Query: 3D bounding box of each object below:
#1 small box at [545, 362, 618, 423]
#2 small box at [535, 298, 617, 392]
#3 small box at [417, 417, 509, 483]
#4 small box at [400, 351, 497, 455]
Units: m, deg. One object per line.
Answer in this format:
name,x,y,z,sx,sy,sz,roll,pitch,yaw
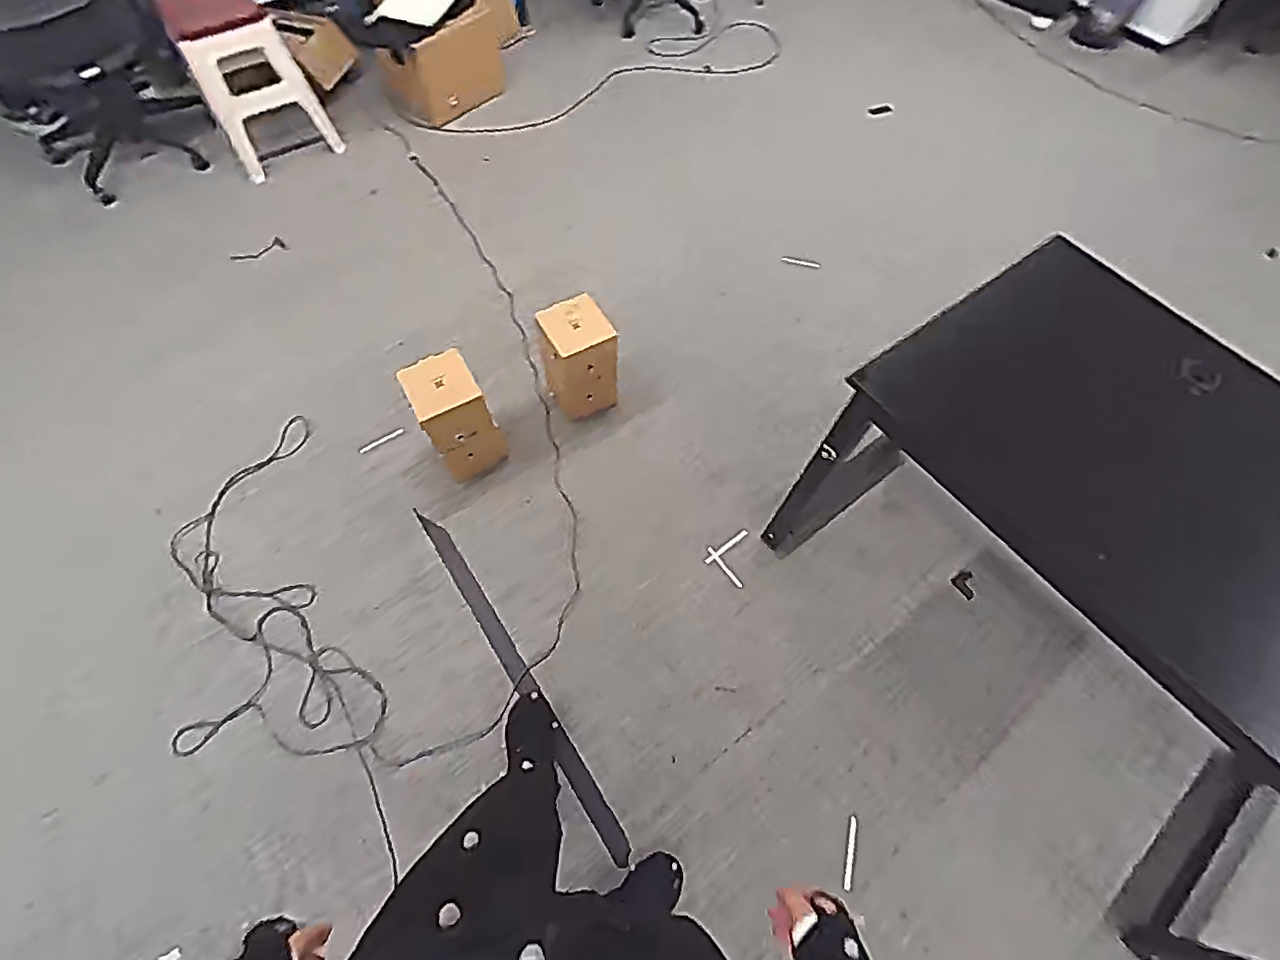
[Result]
small box,-0.182,-0.306,1.673,0.179,0.176,0.168,-25,66,-13
small box,-0.175,-0.370,1.520,0.168,0.176,0.179,-27,67,-16
small box,-0.507,-0.121,1.568,0.179,0.176,0.168,-32,69,-16
small box,-0.500,-0.199,1.425,0.168,0.176,0.179,-28,69,-14
